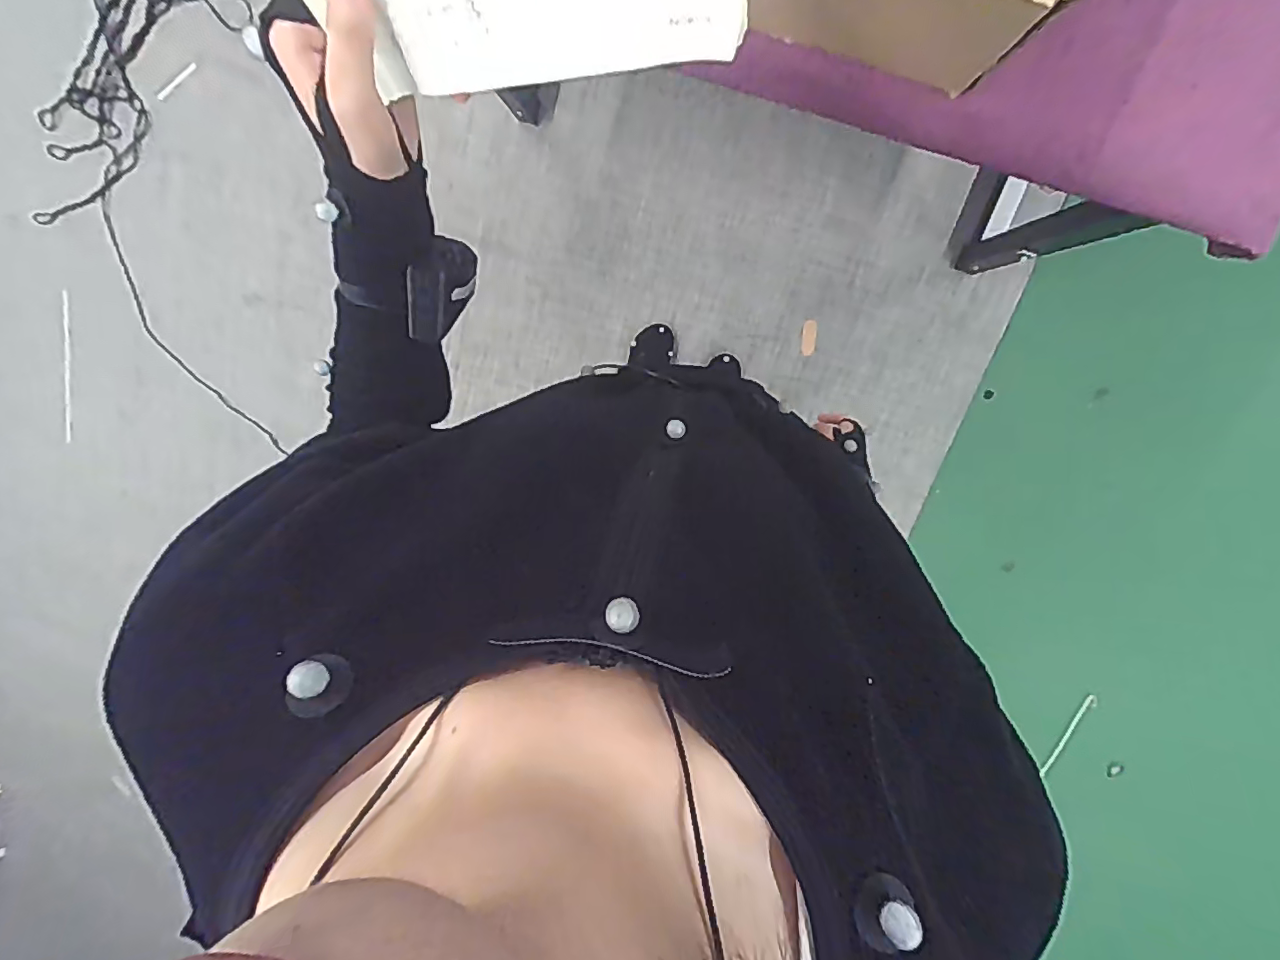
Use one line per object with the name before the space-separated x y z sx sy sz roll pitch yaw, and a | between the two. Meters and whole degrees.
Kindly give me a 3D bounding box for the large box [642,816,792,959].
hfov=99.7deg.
large box | 0.215 1.280 1.636 0.408 0.320 0.320 4 104 4
